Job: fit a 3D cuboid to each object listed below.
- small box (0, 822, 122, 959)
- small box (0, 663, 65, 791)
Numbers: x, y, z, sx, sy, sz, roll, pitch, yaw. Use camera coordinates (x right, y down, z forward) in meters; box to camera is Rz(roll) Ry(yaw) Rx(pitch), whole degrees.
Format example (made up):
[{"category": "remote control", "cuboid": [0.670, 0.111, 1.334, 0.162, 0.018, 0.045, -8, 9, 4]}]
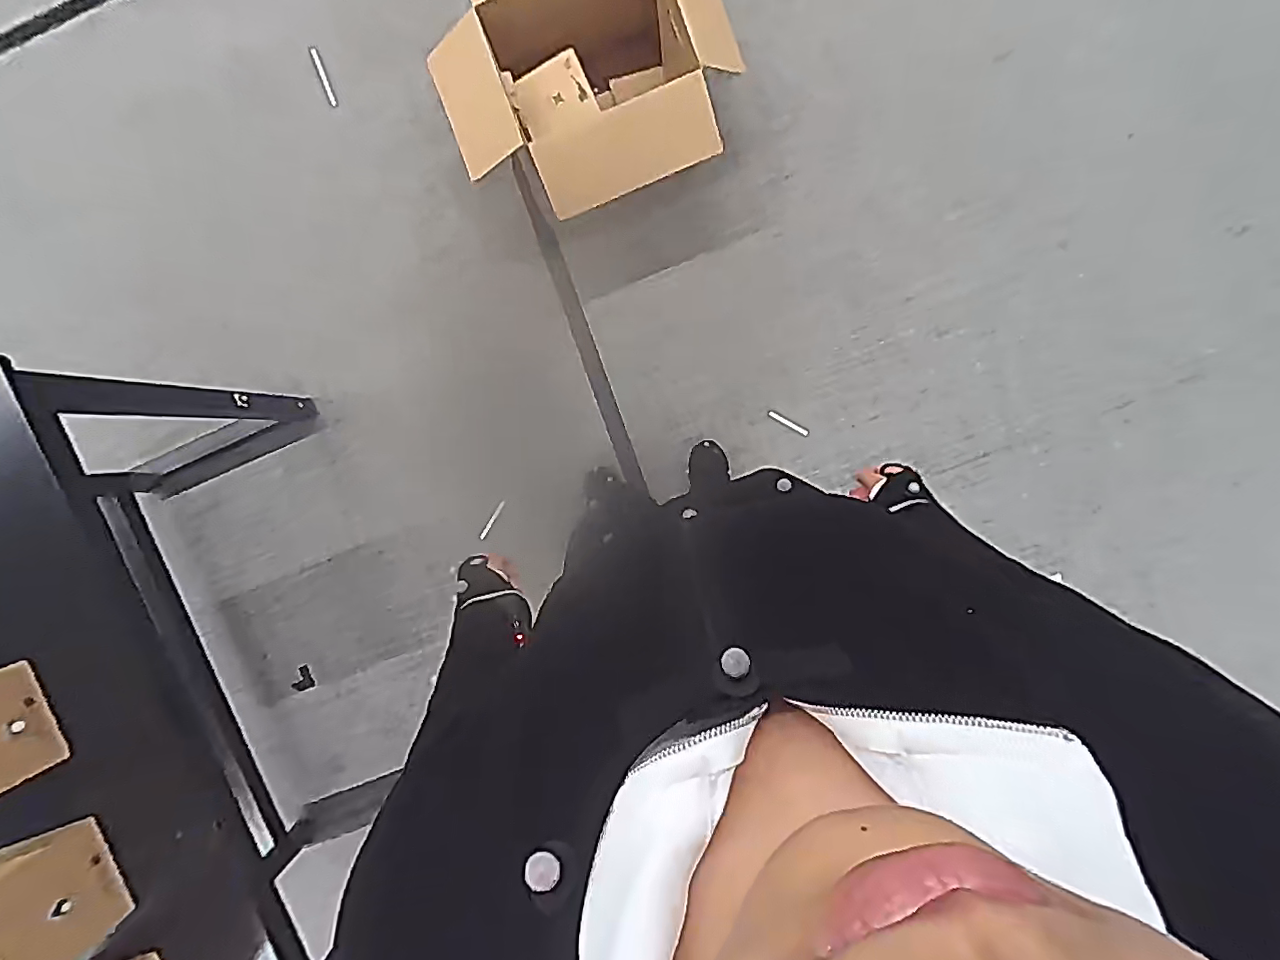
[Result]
[{"category": "small box", "cuboid": [-0.911, 0.638, 0.778, 0.179, 0.176, 0.168, -21, 93, 4]}, {"category": "small box", "cuboid": [-0.998, 0.388, 0.762, 0.179, 0.176, 0.168, -21, 94, 4]}]
